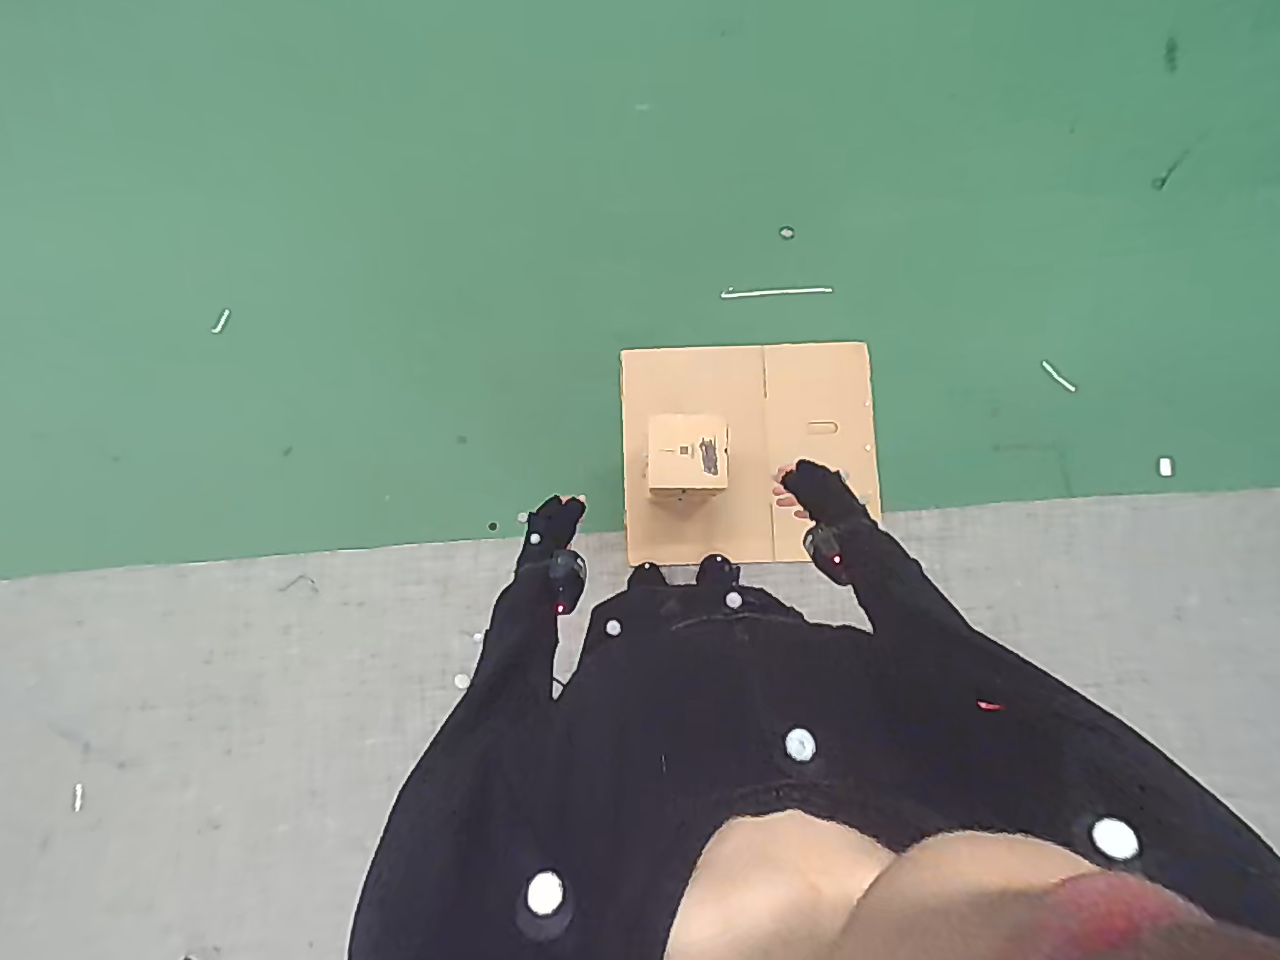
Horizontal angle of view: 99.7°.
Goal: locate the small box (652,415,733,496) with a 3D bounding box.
[{"bbox_3d":[0.117,-0.052,1.244,0.179,0.176,0.168,0,85,3],"label":"small box"}]
